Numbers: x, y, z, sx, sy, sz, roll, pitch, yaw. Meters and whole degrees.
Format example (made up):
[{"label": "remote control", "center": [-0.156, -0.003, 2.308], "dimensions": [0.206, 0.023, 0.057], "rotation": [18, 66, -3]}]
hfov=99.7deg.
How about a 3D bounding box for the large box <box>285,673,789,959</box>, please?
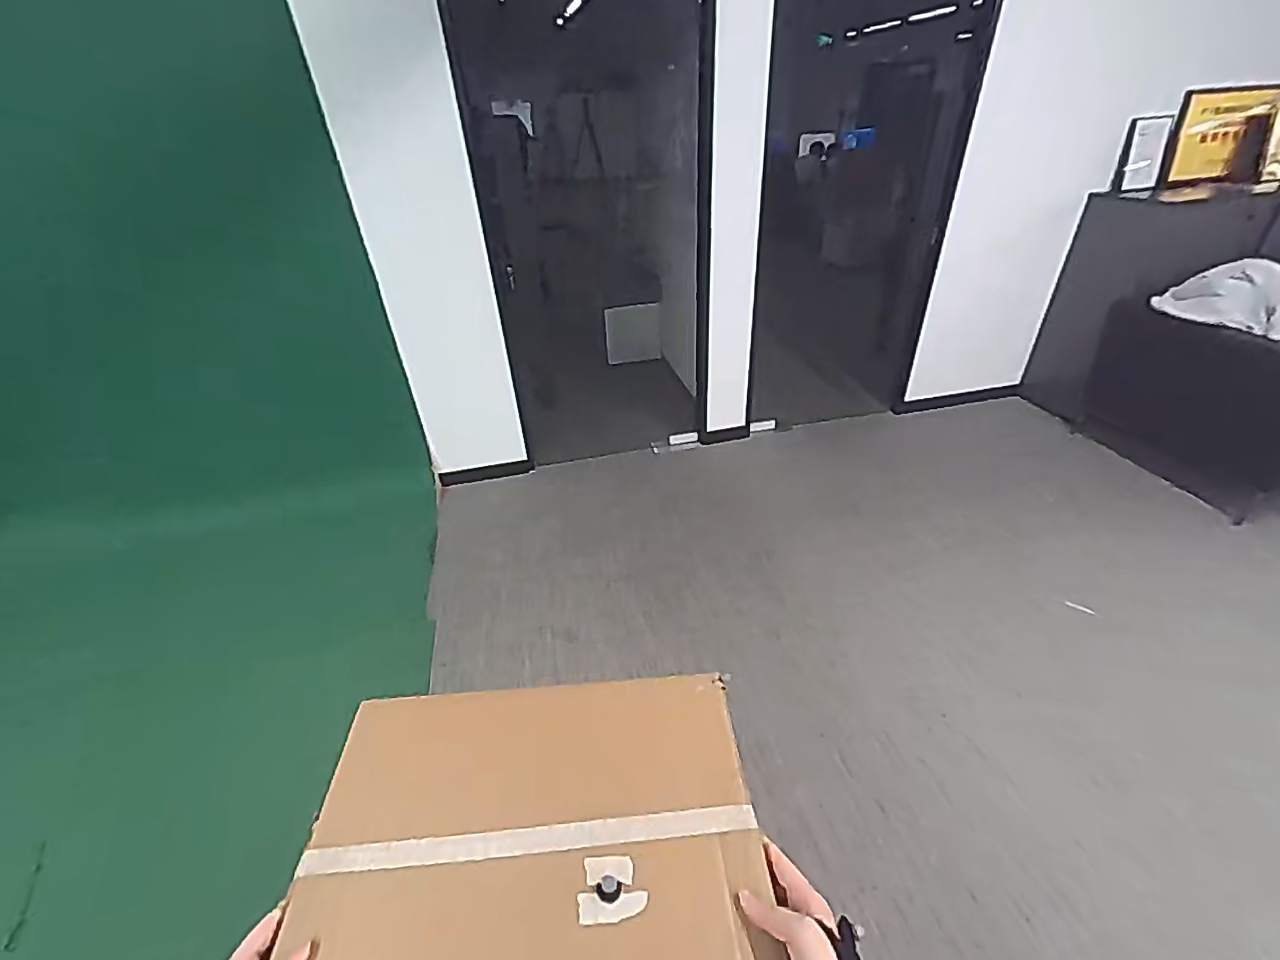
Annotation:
[{"label": "large box", "center": [-0.095, 0.448, 0.588], "dimensions": [0.408, 0.320, 0.320], "rotation": [-2, 37, -5]}]
